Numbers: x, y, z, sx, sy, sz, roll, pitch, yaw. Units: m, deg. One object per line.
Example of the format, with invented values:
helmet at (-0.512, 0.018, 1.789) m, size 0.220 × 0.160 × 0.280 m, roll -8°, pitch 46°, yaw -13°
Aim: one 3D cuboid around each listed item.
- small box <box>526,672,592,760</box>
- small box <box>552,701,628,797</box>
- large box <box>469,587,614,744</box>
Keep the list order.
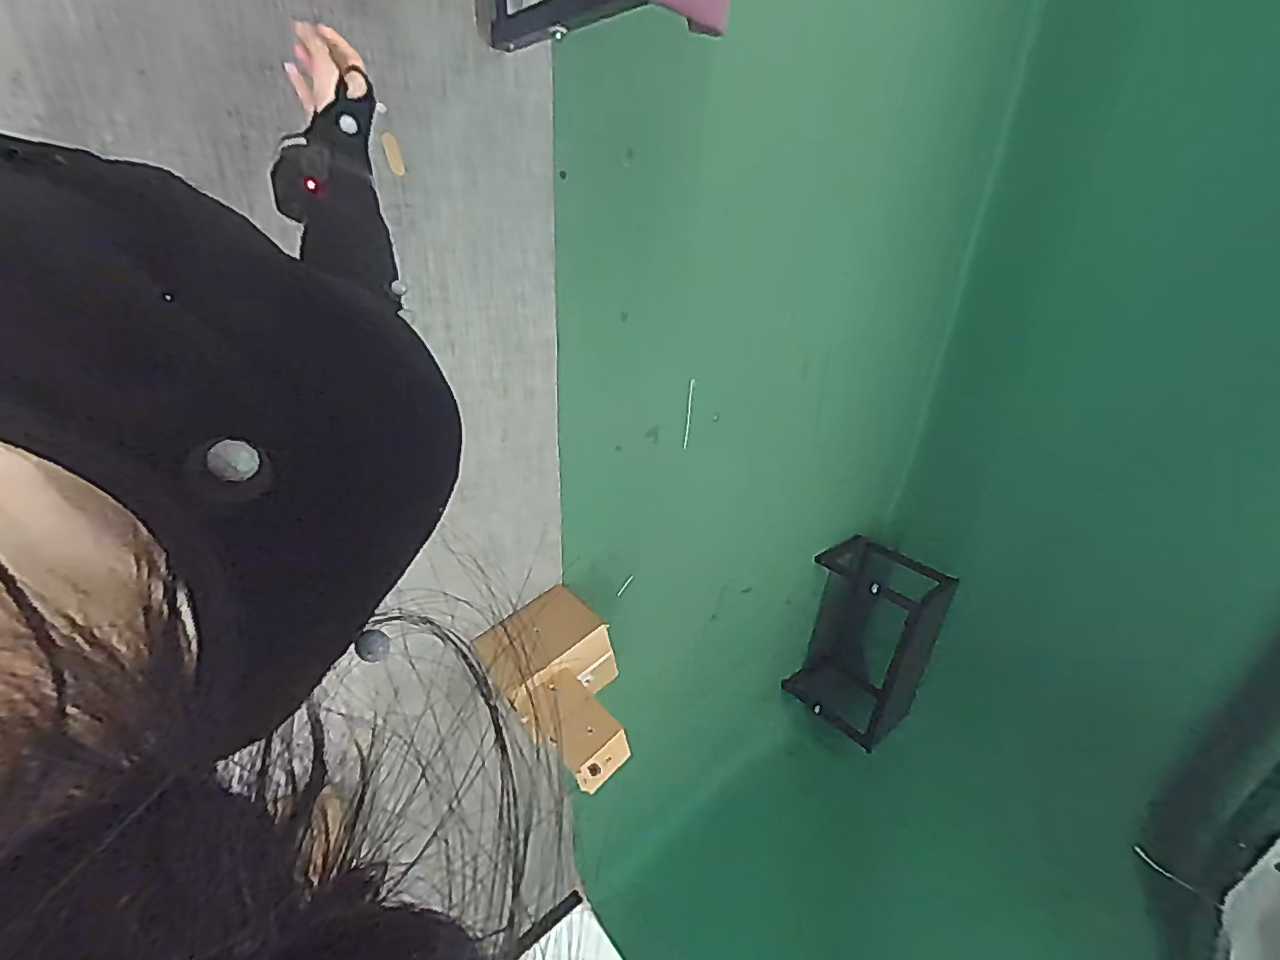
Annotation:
small box at (-0.272, 0.799, 1.843) m, size 0.179 × 0.176 × 0.168 m, roll -27°, pitch 128°, yaw -32°
small box at (-0.165, 0.855, 1.732) m, size 0.179 × 0.176 × 0.168 m, roll -32°, pitch 130°, yaw -30°
large box at (-0.367, 0.688, 2.058) m, size 0.408 × 0.320 × 0.320 m, roll -32°, pitch 131°, yaw -30°
